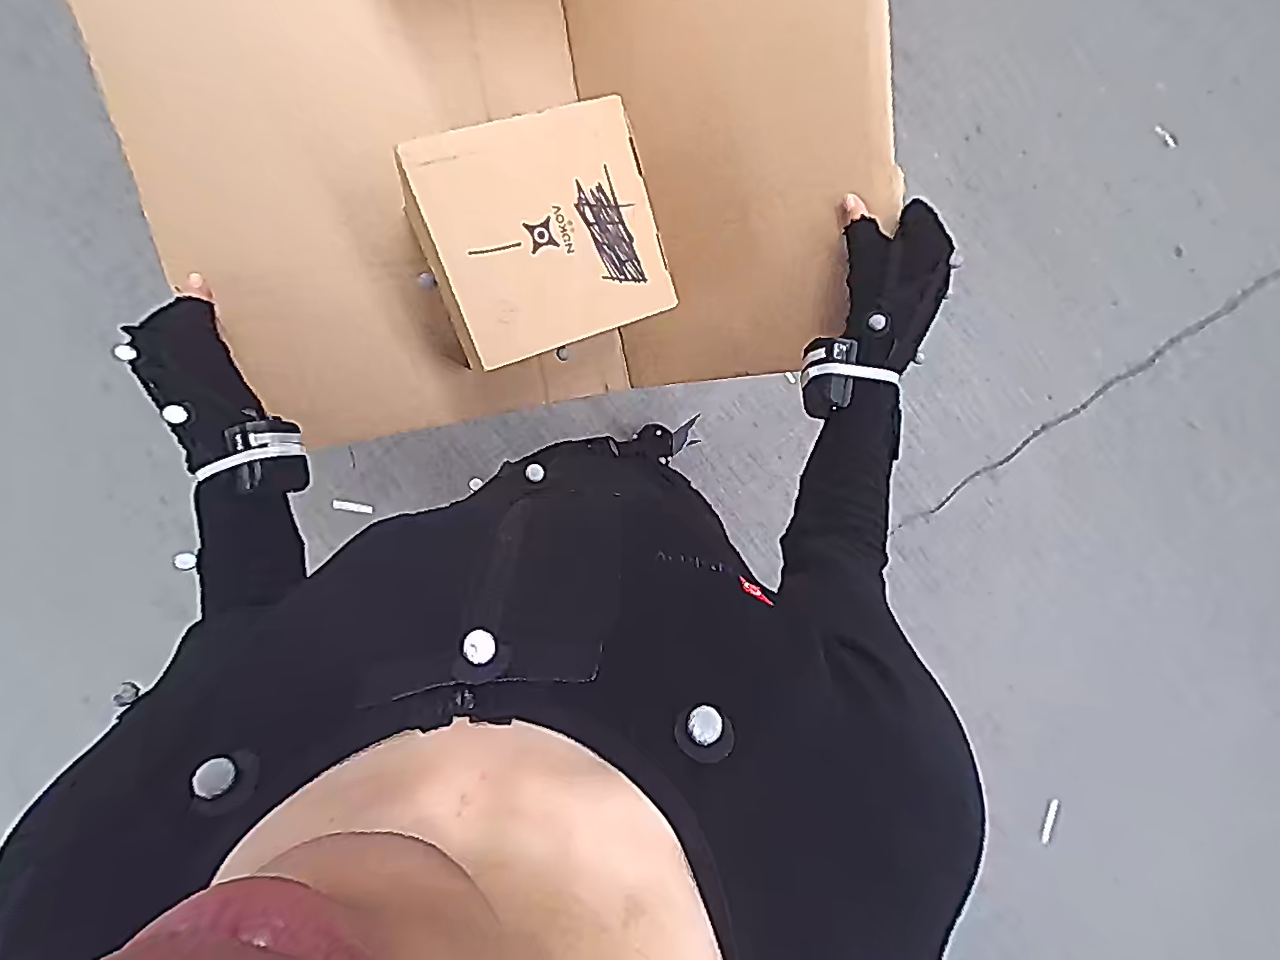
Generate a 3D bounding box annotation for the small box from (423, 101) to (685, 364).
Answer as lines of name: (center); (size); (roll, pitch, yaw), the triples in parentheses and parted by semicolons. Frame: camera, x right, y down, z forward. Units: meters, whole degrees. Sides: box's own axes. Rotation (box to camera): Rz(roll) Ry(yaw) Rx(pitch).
small box: (-0.085, -0.214, 0.504); (0.179, 0.176, 0.168); (-22, 108, -14)
